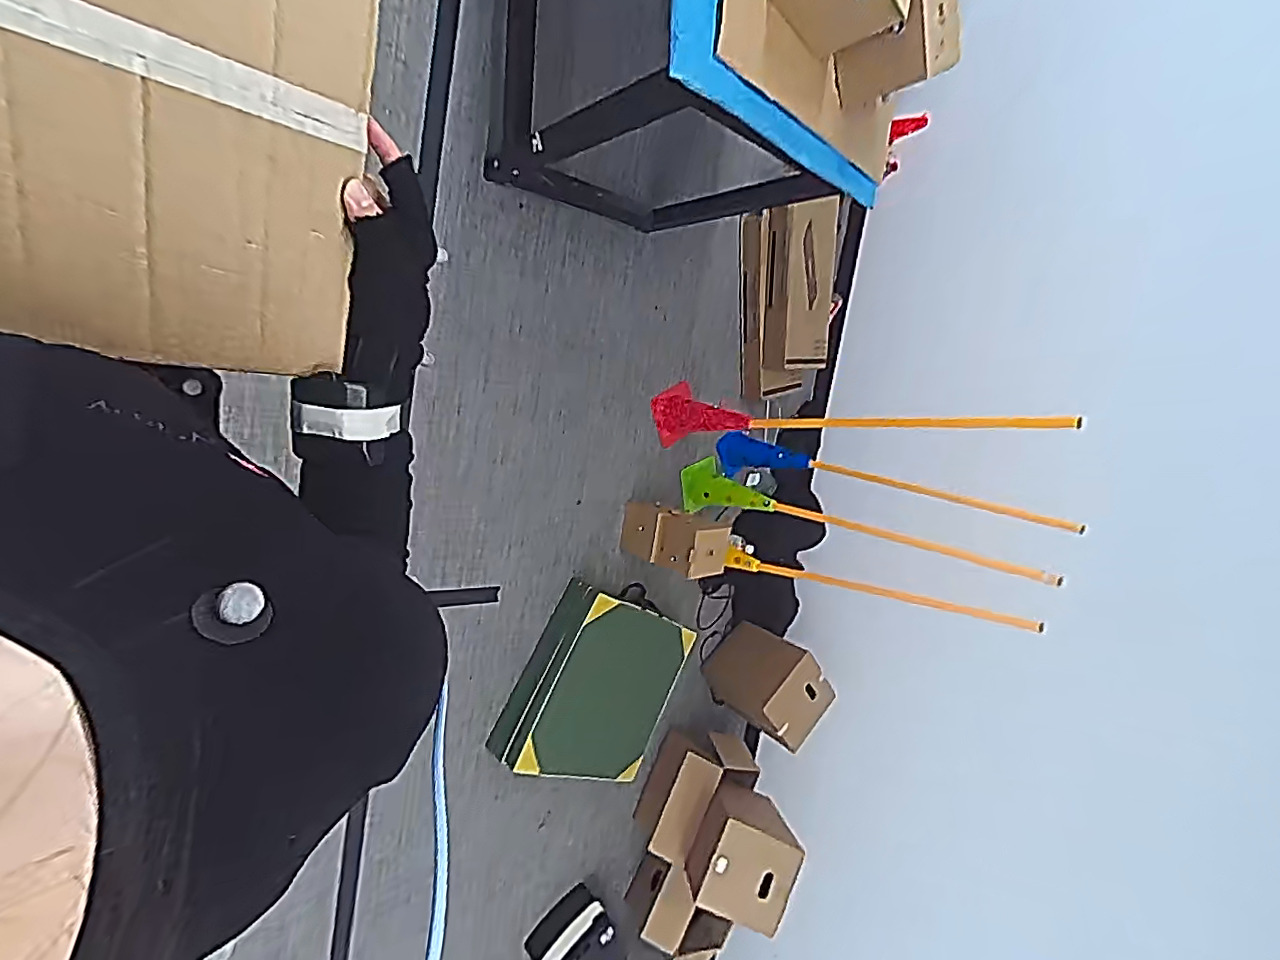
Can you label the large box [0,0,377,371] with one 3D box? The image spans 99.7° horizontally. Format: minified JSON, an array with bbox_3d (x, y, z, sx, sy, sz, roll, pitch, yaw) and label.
[{"bbox_3d":[-0.413,-0.276,0.306,0.408,0.320,0.320,-2,121,-42],"label":"large box"}]
